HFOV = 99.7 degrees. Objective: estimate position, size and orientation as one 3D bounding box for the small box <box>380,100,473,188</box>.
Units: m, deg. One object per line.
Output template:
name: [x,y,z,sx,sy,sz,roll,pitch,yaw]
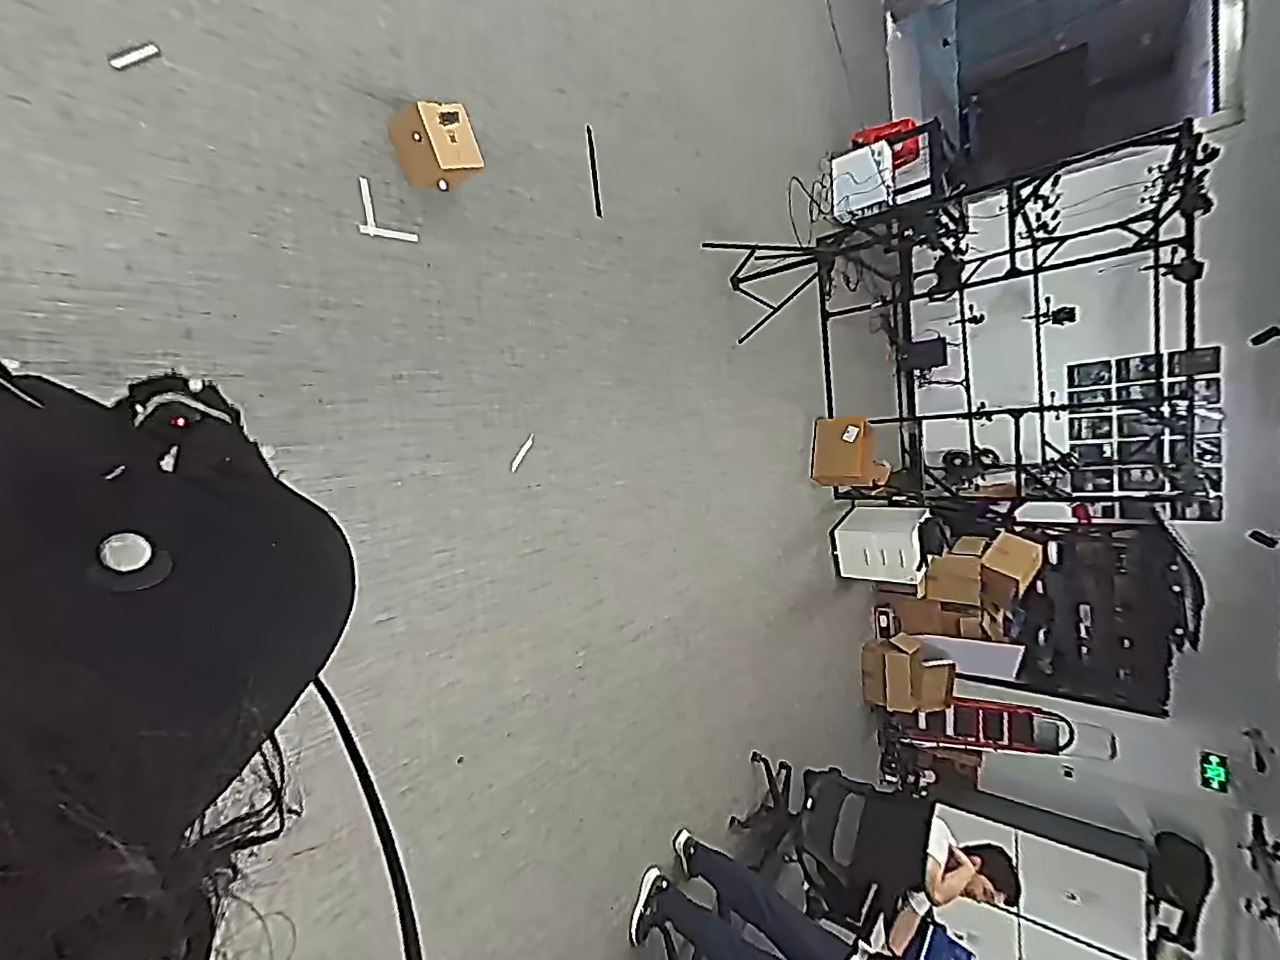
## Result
small box: [-0.642,-1.000,1.620,0.168,0.176,0.179,-38,118,-45]
